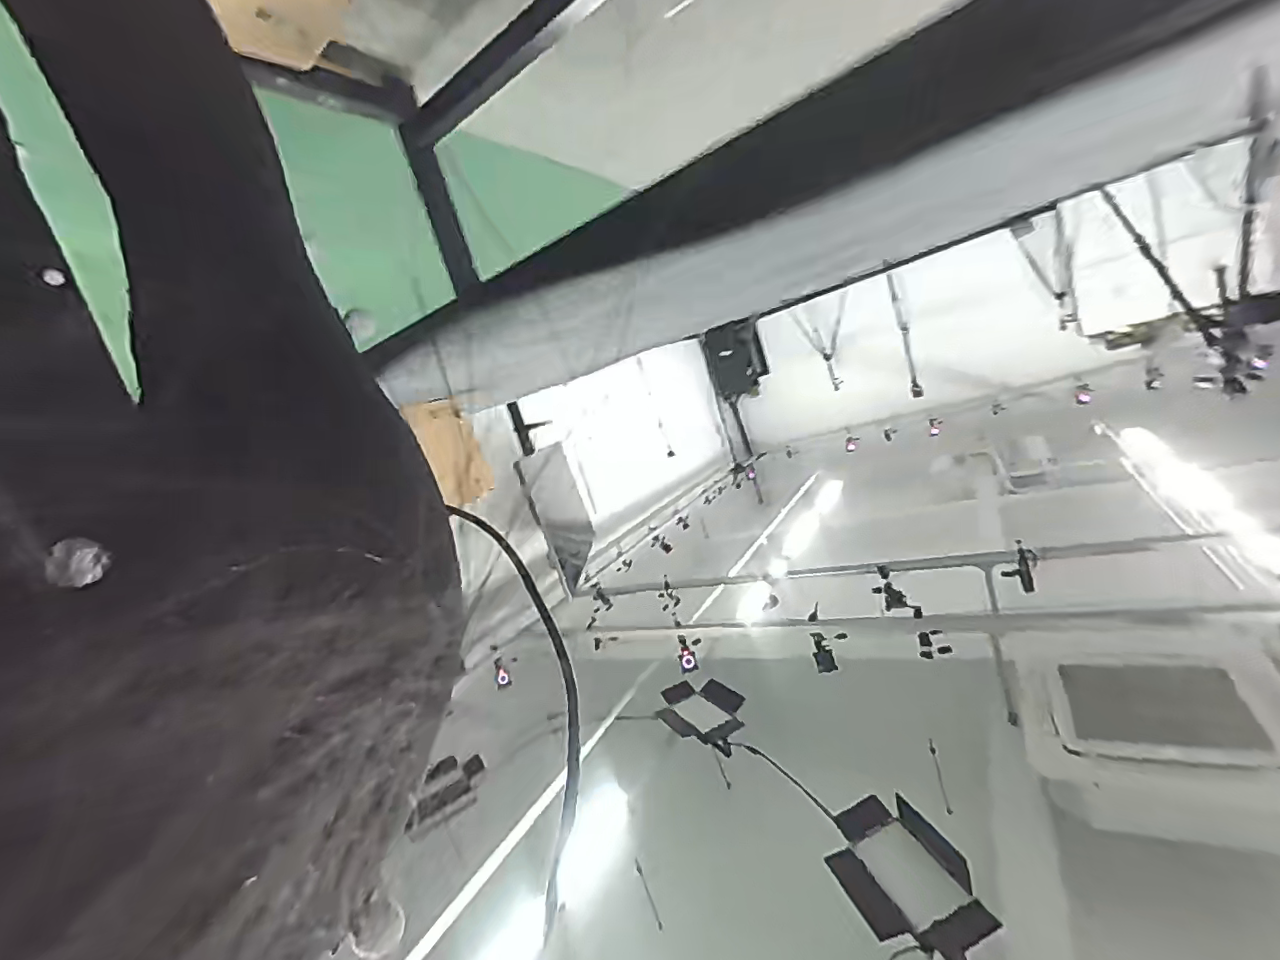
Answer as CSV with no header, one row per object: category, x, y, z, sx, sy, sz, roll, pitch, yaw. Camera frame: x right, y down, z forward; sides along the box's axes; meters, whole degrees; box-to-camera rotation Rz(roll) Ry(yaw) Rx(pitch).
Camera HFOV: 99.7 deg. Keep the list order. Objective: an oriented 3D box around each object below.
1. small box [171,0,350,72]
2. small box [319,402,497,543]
small box,-0.548,-0.723,0.745,0.168,0.176,0.179,-12,-169,38
small box,-0.368,-0.023,0.873,0.179,0.176,0.168,-18,-170,13
